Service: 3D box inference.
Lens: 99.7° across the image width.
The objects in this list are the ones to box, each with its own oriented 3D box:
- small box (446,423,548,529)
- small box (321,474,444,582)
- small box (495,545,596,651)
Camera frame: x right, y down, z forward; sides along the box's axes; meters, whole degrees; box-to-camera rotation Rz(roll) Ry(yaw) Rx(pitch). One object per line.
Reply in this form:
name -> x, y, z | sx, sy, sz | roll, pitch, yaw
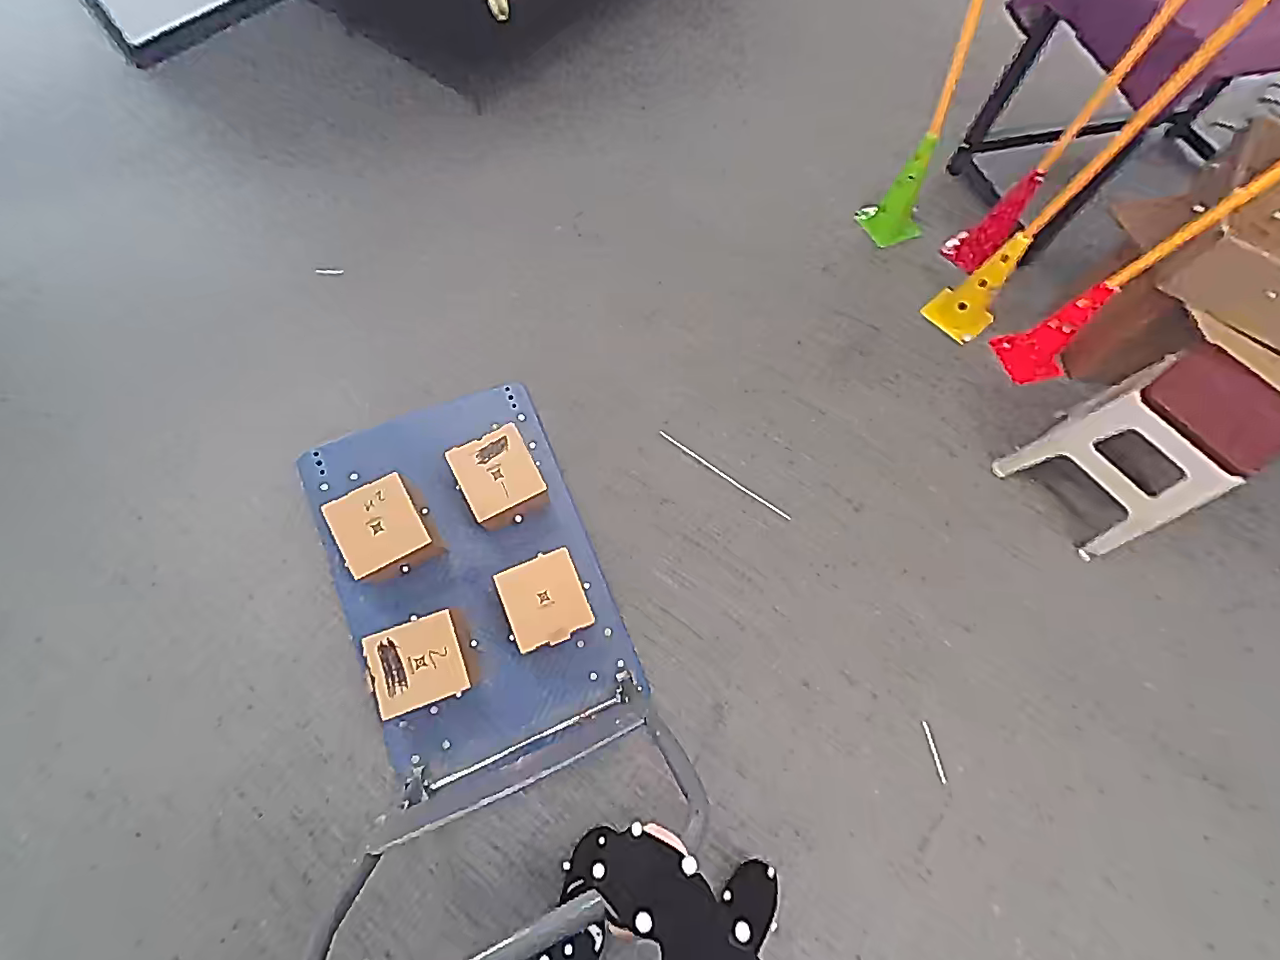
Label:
small box -> -0.325, -0.003, 1.256 | 0.168, 0.176, 0.179 | -27, 83, -12
small box -> -0.558, 0.112, 1.197 | 0.168, 0.176, 0.179 | -28, 82, -14
small box -> -0.210, 0.264, 1.211 | 0.168, 0.176, 0.179 | -22, 82, -12
